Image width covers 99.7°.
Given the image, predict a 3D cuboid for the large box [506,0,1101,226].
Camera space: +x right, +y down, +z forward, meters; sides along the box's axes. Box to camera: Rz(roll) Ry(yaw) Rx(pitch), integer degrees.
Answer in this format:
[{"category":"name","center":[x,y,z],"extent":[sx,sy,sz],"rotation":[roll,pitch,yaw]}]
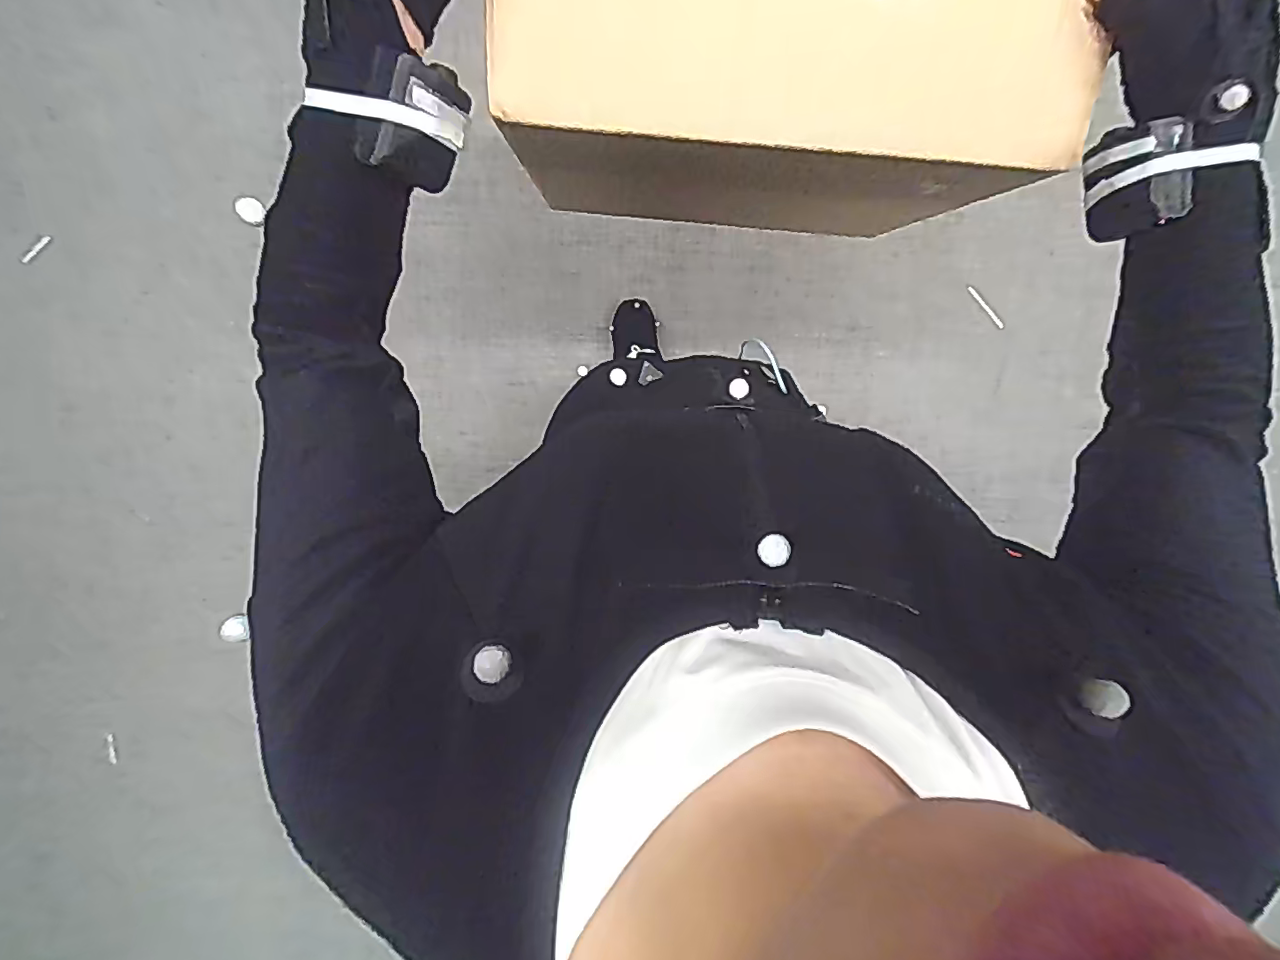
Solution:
[{"category":"large box","center":[0.106,-0.427,0.478],"extent":[0.408,0.320,0.320],"rotation":[3,107,-4]}]
